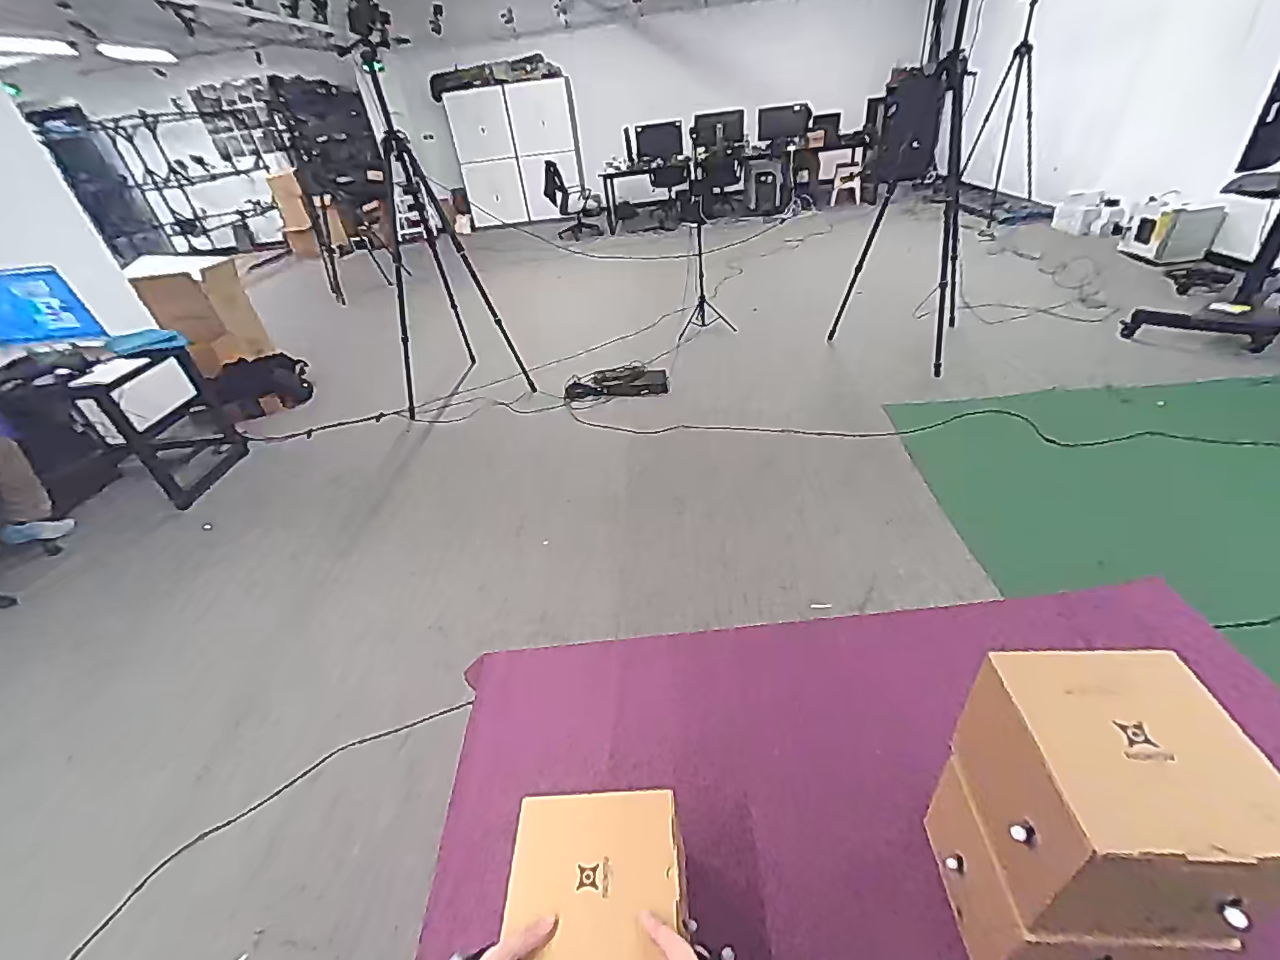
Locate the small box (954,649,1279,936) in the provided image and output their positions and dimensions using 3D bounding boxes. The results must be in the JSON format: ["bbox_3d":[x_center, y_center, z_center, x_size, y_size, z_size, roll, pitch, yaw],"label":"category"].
[{"bbox_3d":[0.414,0.277,0.489,0.168,0.176,0.179,-3,35,8],"label":"small box"}]

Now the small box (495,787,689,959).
[{"bbox_3d":[-0.040,0.471,0.602,0.179,0.176,0.168,-5,35,4],"label":"small box"}]

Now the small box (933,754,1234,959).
[{"bbox_3d":[0.434,0.414,0.575,0.179,0.176,0.168,-3,36,8],"label":"small box"}]
